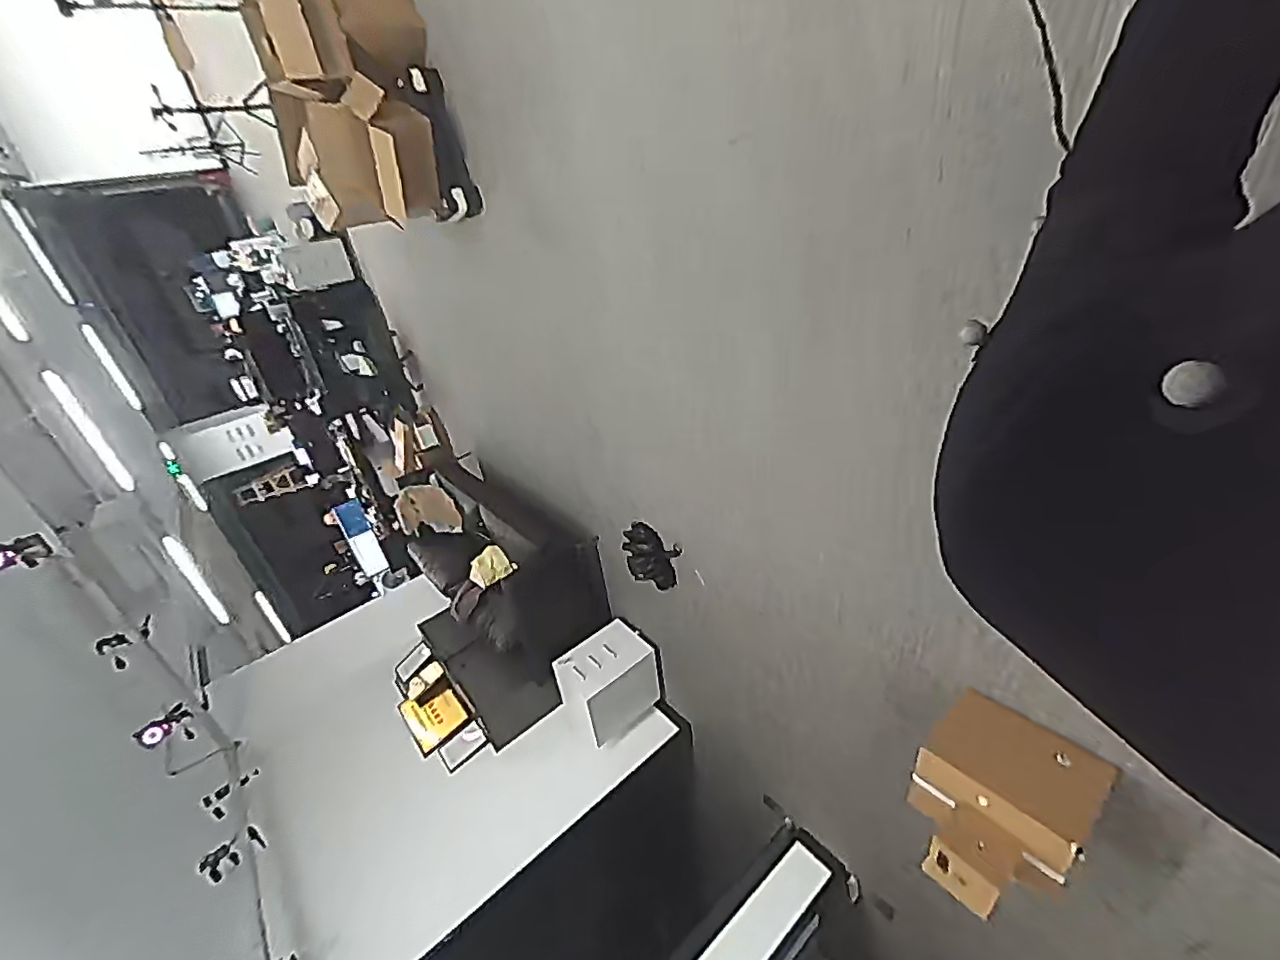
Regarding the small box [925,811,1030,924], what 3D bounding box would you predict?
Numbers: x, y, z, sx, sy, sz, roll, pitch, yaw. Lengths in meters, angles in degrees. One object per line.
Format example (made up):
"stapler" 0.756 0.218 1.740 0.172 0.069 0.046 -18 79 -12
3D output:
"small box" 0.943 1.071 1.515 0.179 0.176 0.168 32 135 41
